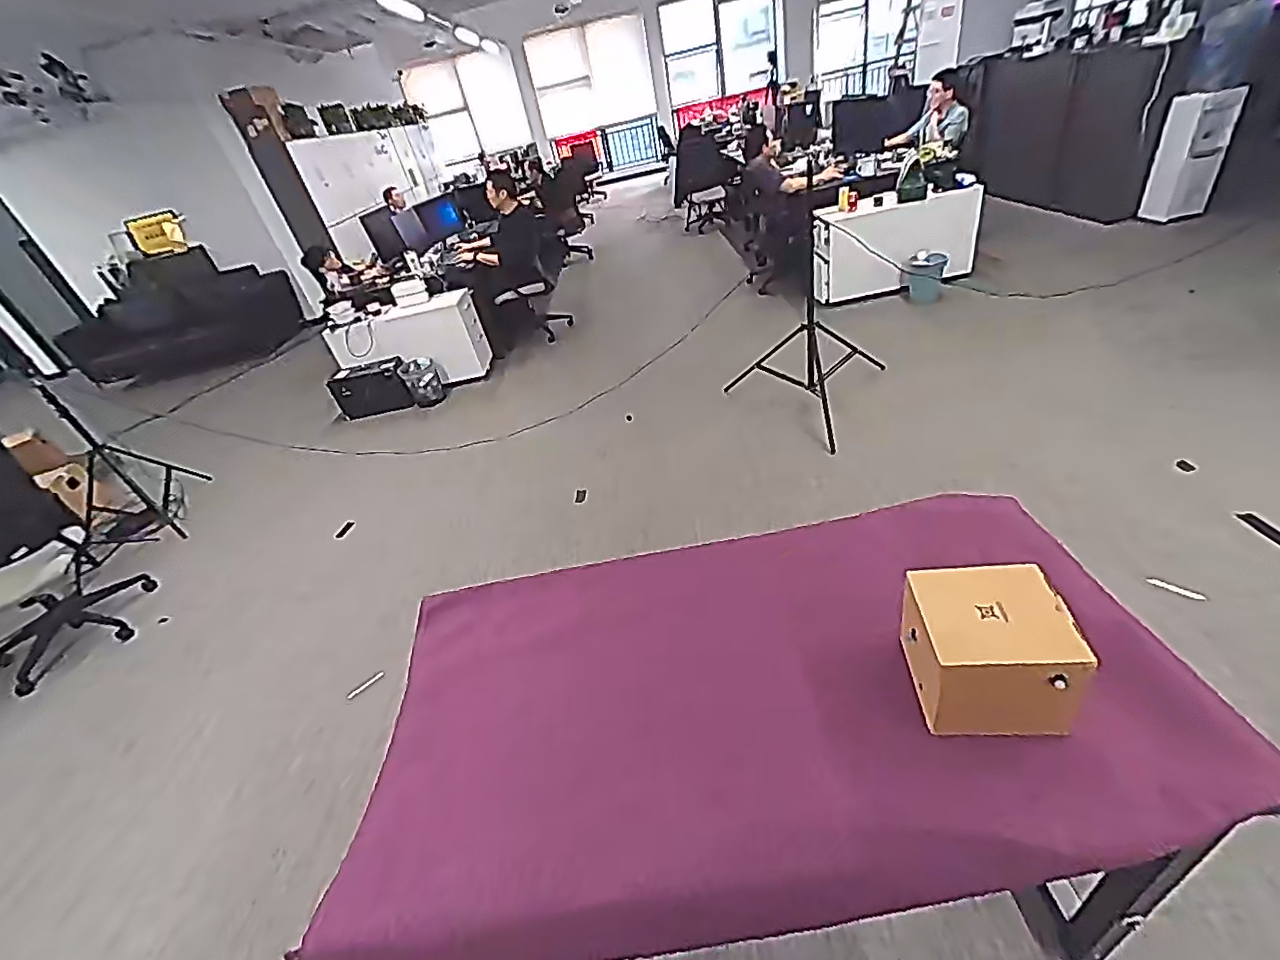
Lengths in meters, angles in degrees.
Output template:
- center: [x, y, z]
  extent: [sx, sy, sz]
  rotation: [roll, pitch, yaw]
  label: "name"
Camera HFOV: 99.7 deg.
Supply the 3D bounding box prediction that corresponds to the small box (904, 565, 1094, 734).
- center: [0.487, 0.242, 0.770]
  extent: [0.179, 0.176, 0.168]
  rotation: [-6, 35, 12]
  label: "small box"
